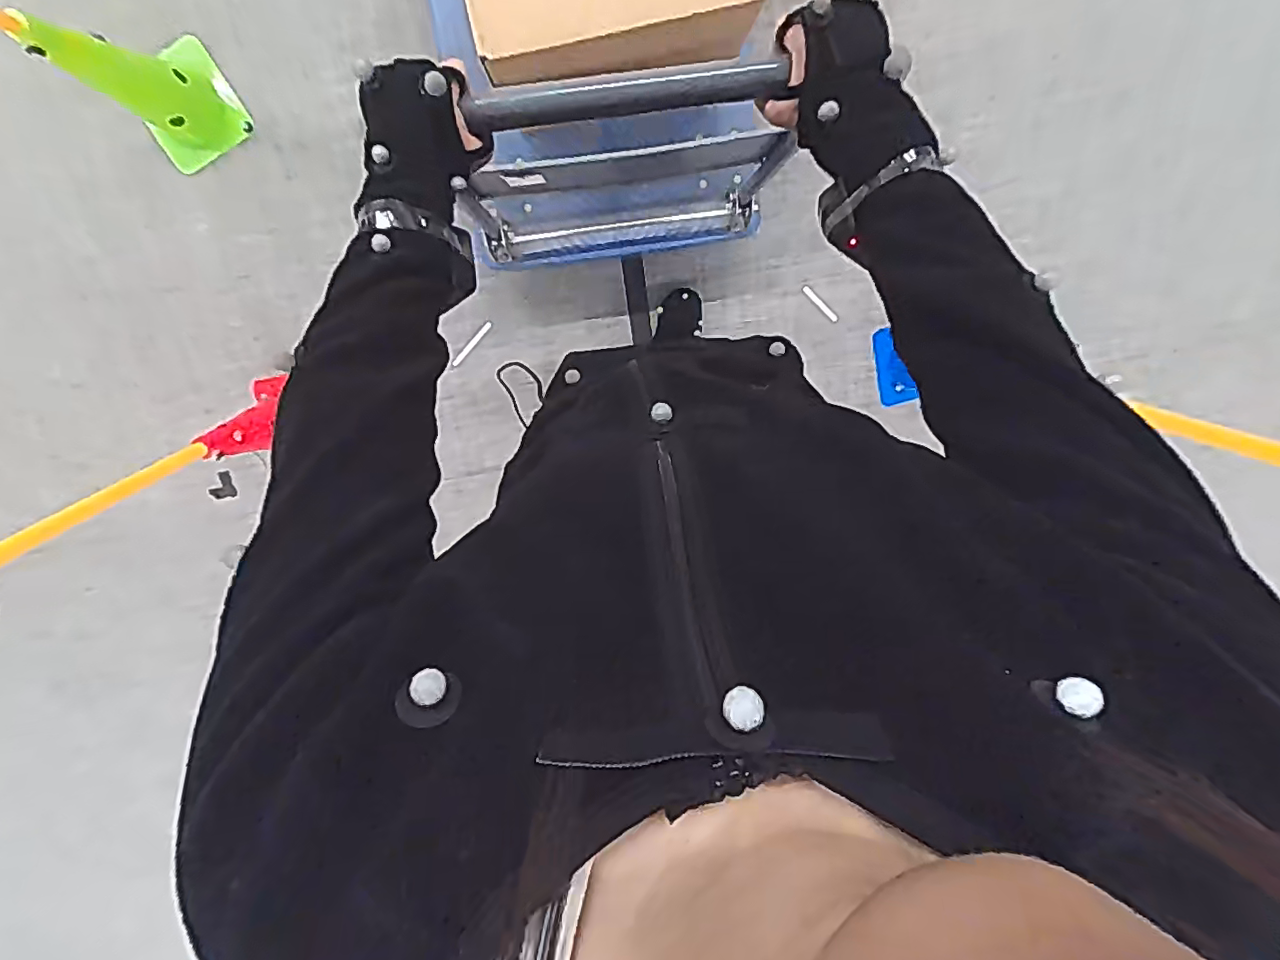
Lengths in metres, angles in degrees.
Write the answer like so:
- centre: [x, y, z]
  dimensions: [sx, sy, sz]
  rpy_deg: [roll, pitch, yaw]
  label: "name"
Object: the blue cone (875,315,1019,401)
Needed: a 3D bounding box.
- centre: [0.711, -0.261, 1.225]
  dimensions: [0.193, 0.380, 0.192]
  rpy_deg: [-13, 106, 1]
  label: "blue cone"
